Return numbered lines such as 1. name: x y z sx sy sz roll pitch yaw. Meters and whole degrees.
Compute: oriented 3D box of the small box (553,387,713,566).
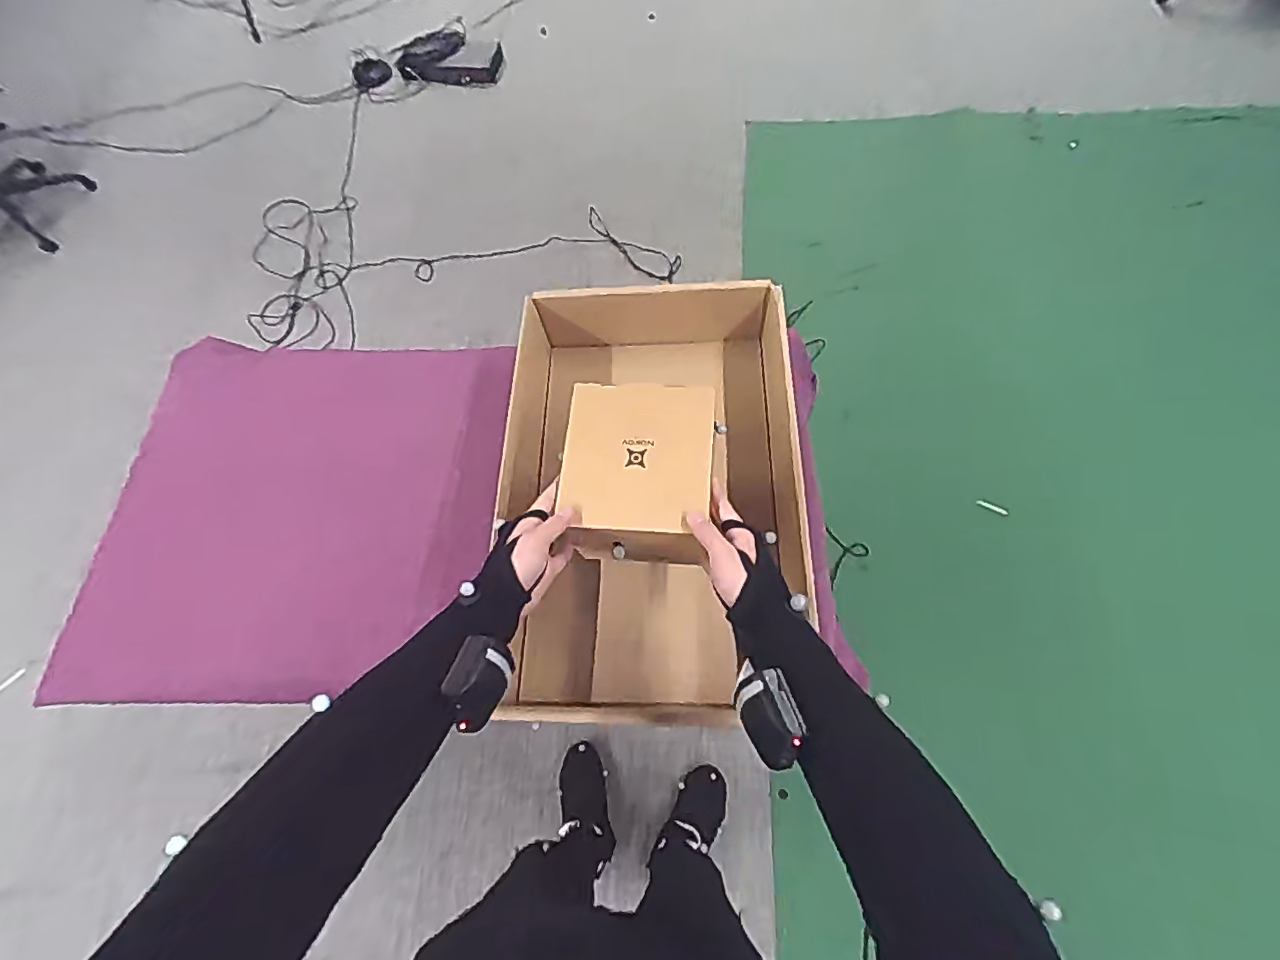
1. small box: 0.004 0.003 0.670 0.168 0.176 0.179 3 69 8
